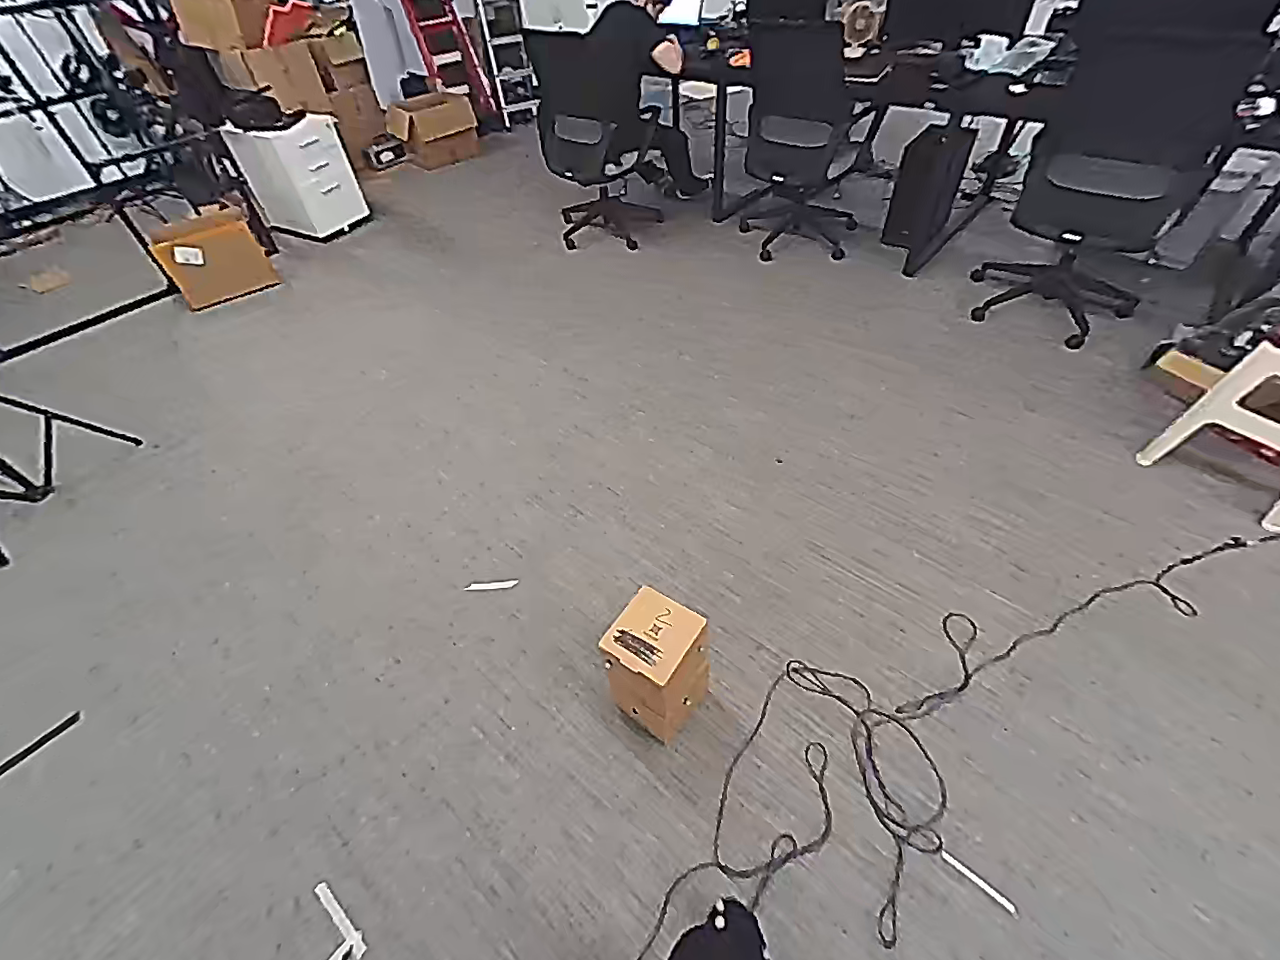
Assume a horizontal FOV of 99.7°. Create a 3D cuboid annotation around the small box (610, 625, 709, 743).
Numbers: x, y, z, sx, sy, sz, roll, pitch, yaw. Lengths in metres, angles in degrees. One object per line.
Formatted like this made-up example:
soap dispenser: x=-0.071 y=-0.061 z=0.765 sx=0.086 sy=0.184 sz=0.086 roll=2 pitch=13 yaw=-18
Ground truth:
small box: x=0.054 y=0.491 z=1.295 sx=0.168 sy=0.176 sz=0.179 roll=29 pitch=56 yaw=29
